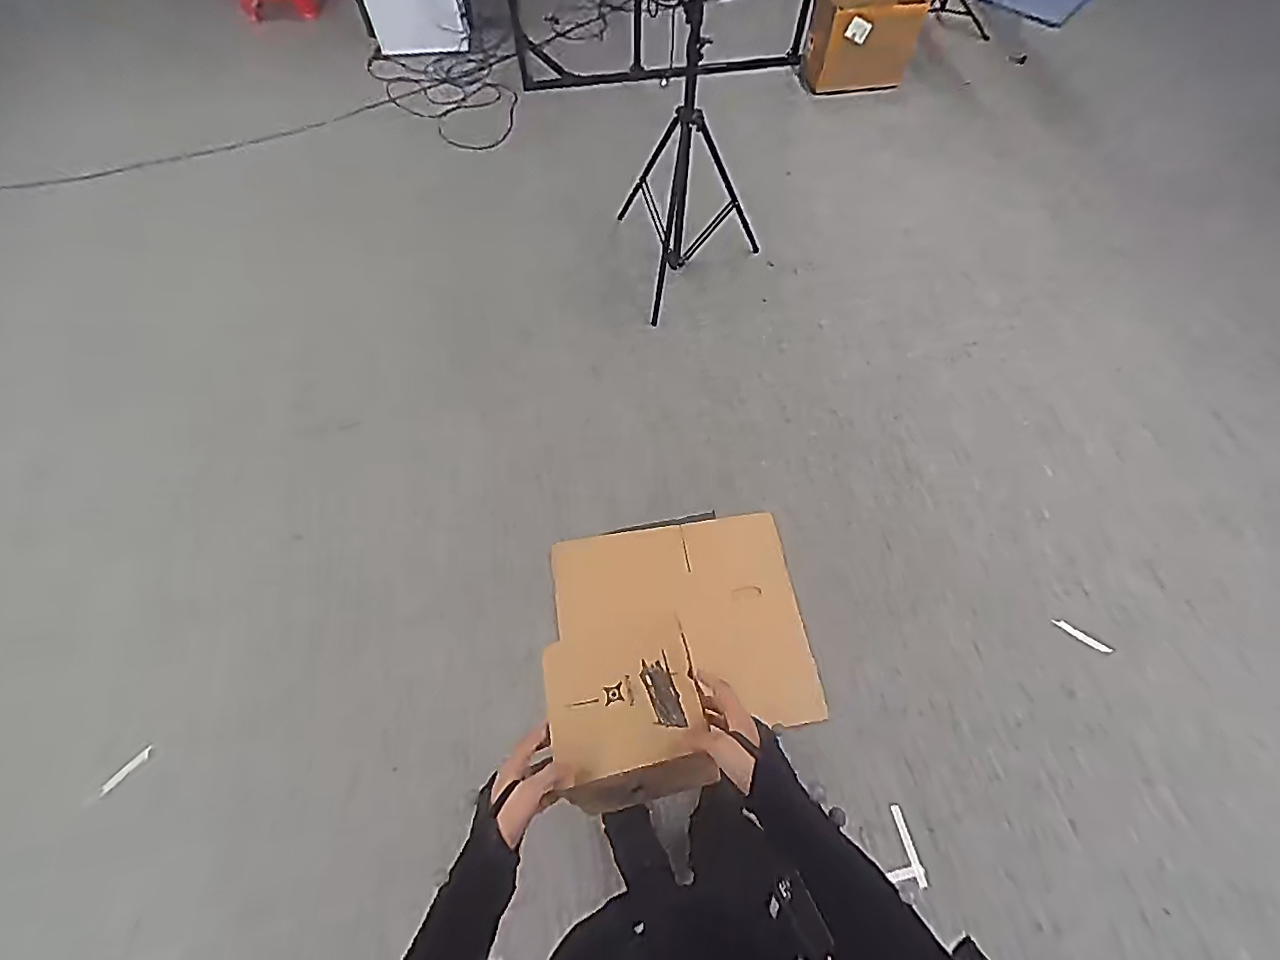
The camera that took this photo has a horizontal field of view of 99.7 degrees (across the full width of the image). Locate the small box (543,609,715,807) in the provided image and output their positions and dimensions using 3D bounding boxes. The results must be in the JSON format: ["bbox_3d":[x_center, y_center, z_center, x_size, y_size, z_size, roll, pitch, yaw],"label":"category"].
[{"bbox_3d":[-0.009,0.290,0.682,0.179,0.176,0.168,-15,50,-1],"label":"small box"}]
